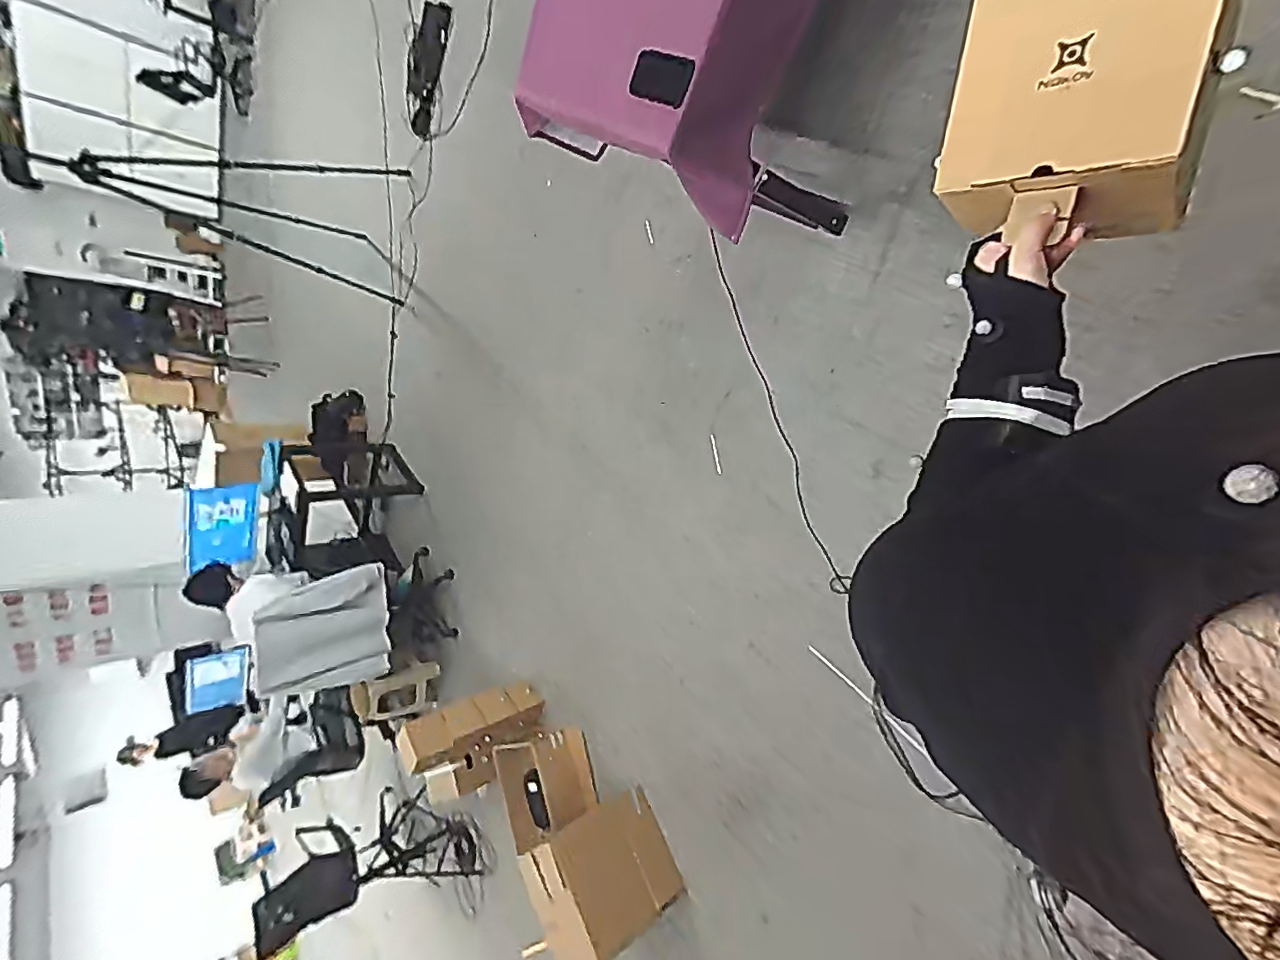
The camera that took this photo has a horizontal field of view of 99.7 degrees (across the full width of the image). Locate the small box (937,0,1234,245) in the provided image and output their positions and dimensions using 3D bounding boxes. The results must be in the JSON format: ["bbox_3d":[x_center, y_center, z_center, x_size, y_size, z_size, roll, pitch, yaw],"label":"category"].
[{"bbox_3d":[0.395,-0.331,0.486,0.168,0.176,0.179,16,103,42],"label":"small box"}]
